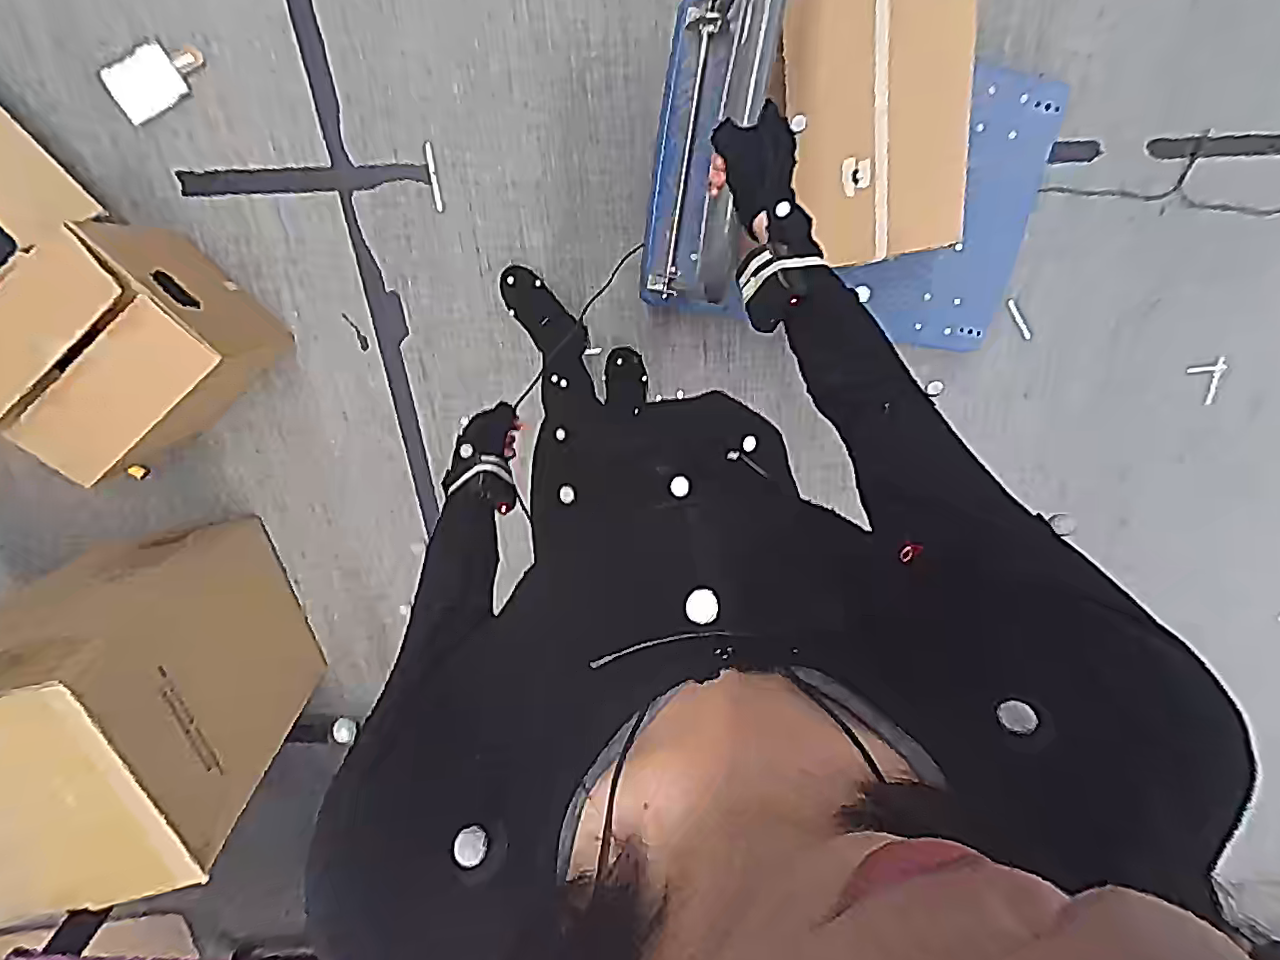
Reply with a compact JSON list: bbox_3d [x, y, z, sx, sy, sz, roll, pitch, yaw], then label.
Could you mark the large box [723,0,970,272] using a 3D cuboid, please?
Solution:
[{"bbox_3d":[0.364,-0.630,1.016,0.320,0.320,0.408,-11,113,-3],"label":"large box"}]
